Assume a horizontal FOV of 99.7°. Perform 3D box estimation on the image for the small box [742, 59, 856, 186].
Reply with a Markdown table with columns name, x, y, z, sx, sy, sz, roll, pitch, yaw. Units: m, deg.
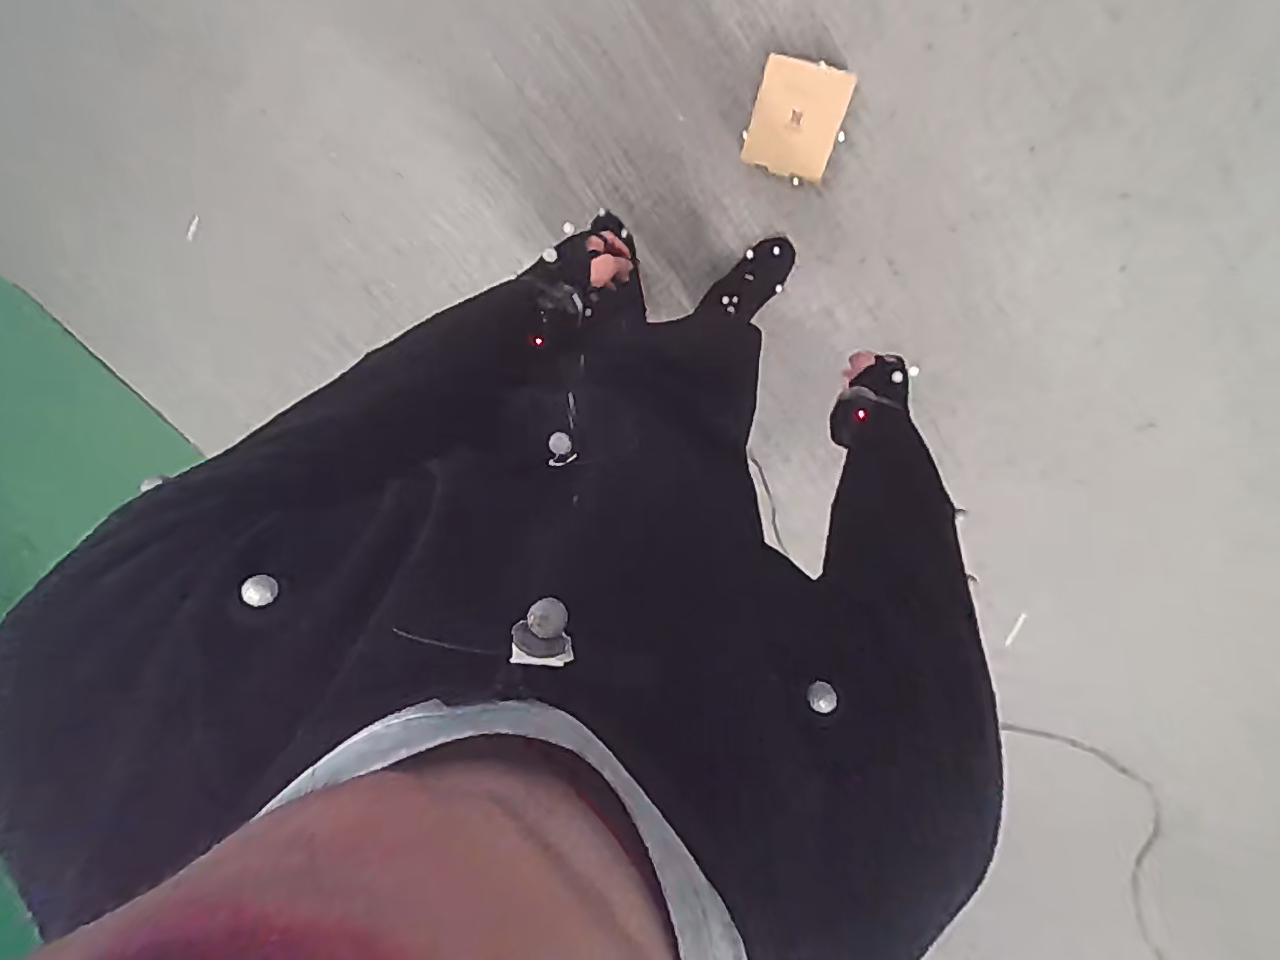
| name | x | y | z | sx | sy | sz | roll | pitch | yaw |
| --- | --- | --- | --- | --- | --- | --- | --- | --- | --- |
| small box | 0.318 | -0.711 | 1.091 | 0.168 | 0.176 | 0.179 | 18 | 122 | 6 |
